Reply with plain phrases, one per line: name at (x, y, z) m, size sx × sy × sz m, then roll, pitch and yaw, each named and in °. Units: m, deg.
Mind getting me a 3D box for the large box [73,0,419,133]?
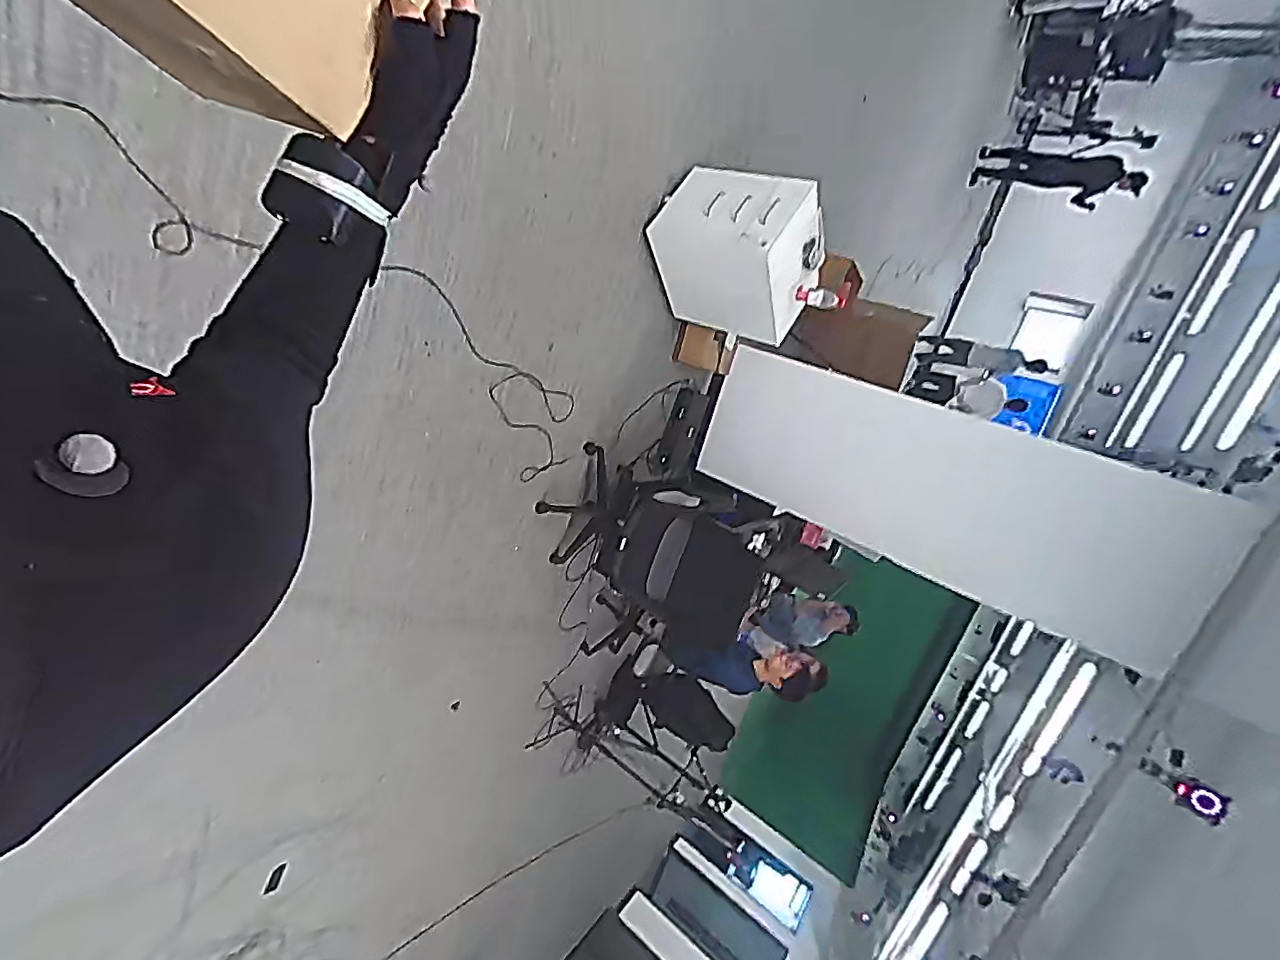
large box at (-0.357, -0.510, 0.320) m, size 0.320 × 0.320 × 0.408 m, roll -59°, pitch 151°, yaw 2°
